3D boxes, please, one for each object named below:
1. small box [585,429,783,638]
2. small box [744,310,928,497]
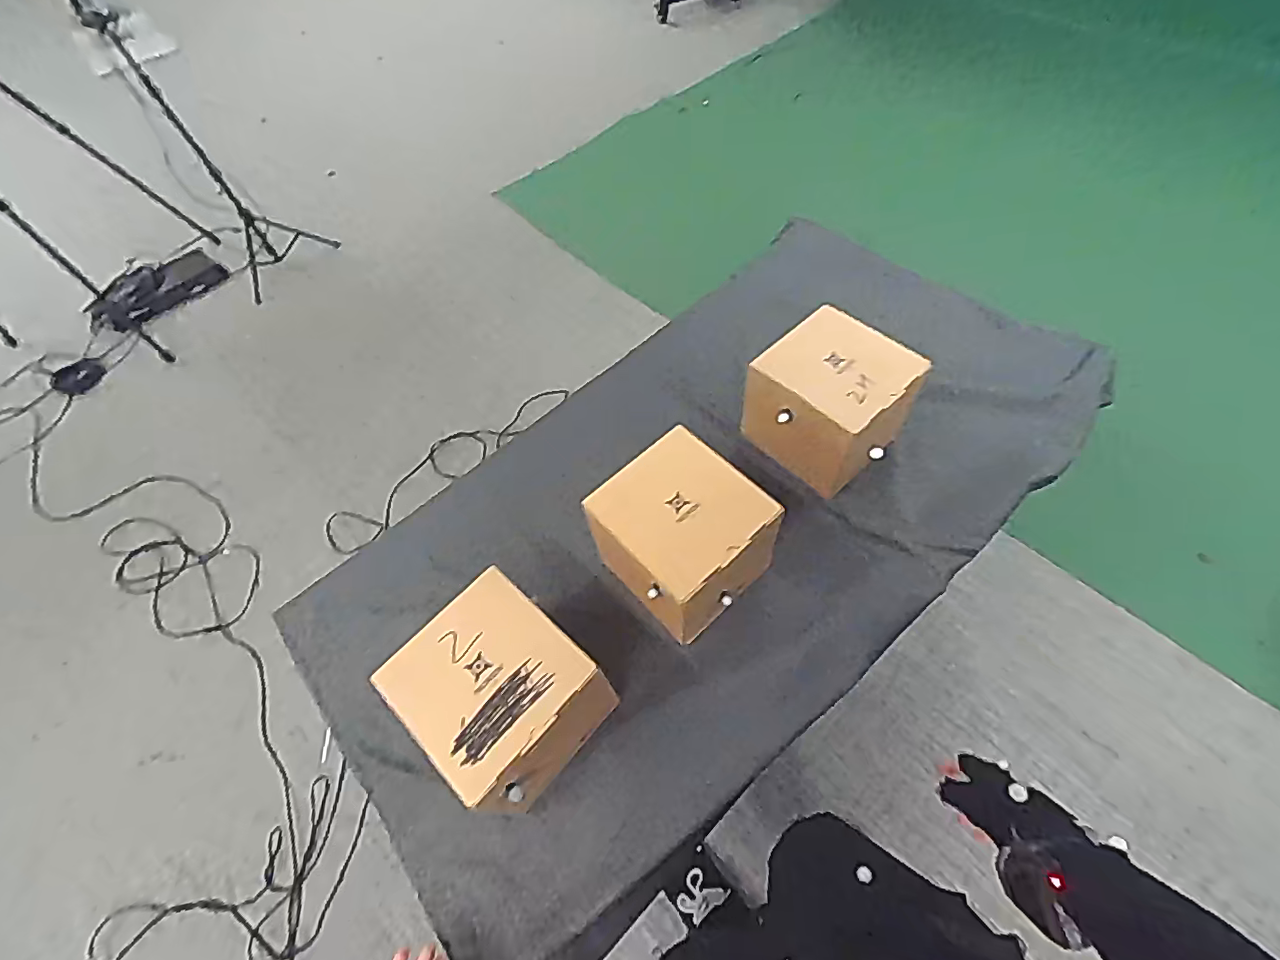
[{"bbox_3d":[0.053,0.075,0.700,0.168,0.176,0.179,-39,64,-19],"label":"small box"},{"bbox_3d":[0.270,-0.108,0.793,0.168,0.176,0.179,-39,63,-18],"label":"small box"}]
